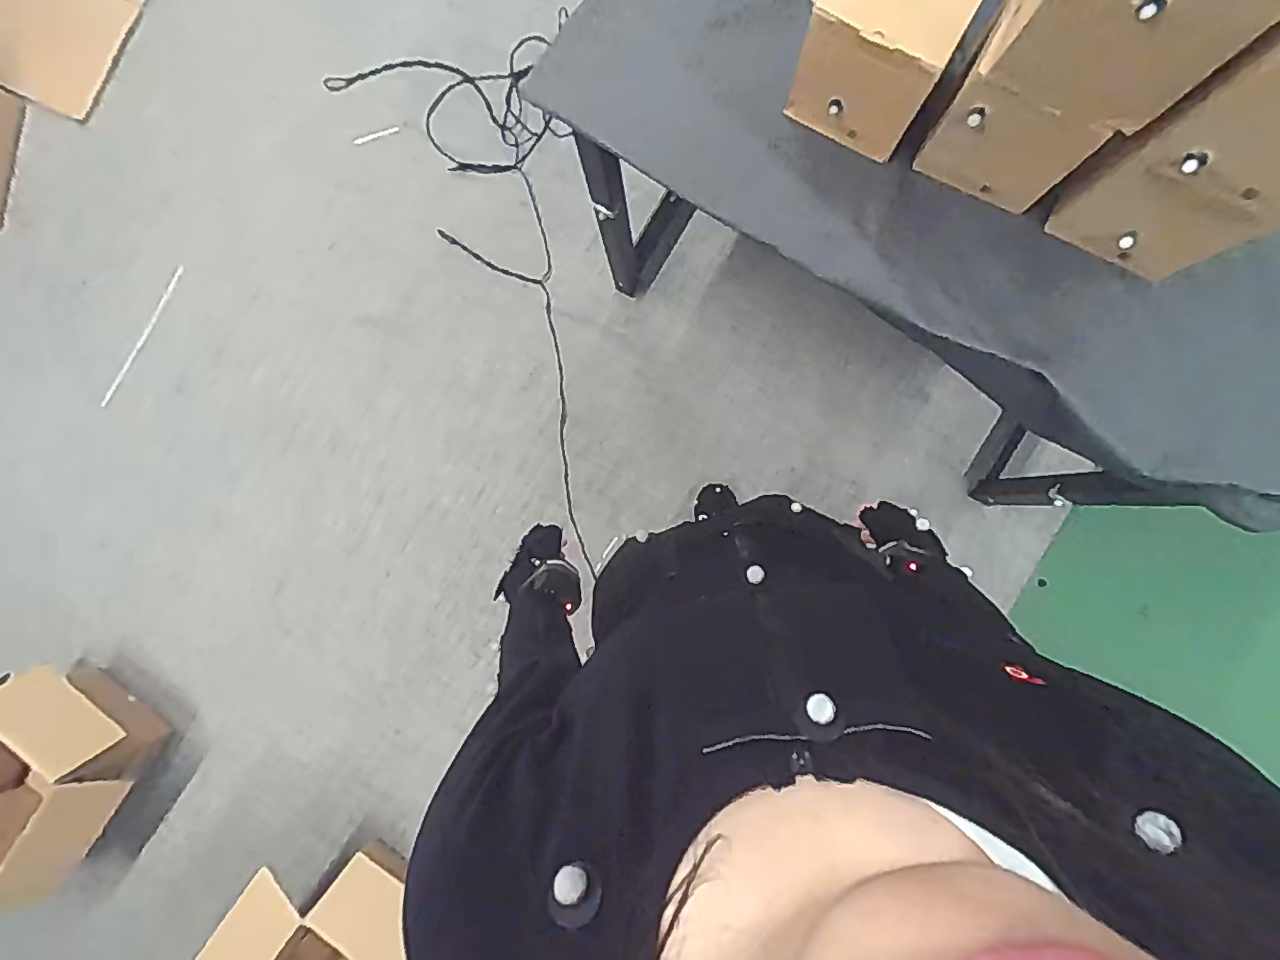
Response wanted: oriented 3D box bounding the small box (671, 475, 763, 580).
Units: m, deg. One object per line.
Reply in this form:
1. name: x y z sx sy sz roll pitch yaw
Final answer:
1. small box: 0.193 0.125 1.410 0.179 0.176 0.168 -34 57 -21
